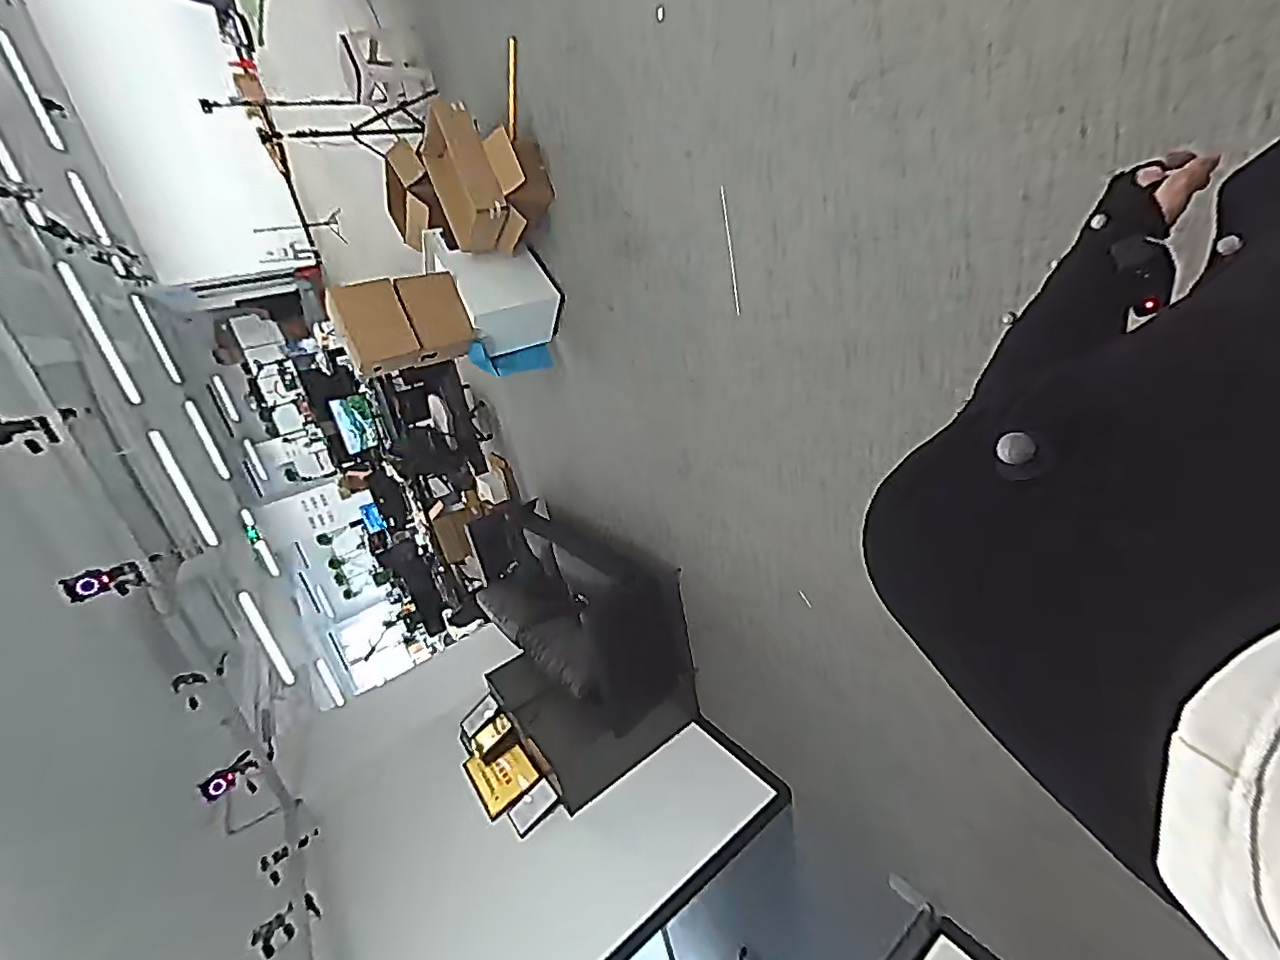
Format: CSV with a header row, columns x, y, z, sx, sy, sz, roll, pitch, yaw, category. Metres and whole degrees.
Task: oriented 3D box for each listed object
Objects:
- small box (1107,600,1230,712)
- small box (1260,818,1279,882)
x,y,z,sx,sy,sz,roll,pitch,yaw,category
1.314,0.427,1.345,0.179,0.176,0.168,21,128,51,small box
1.415,0.752,1.077,0.179,0.176,0.168,29,134,47,small box
